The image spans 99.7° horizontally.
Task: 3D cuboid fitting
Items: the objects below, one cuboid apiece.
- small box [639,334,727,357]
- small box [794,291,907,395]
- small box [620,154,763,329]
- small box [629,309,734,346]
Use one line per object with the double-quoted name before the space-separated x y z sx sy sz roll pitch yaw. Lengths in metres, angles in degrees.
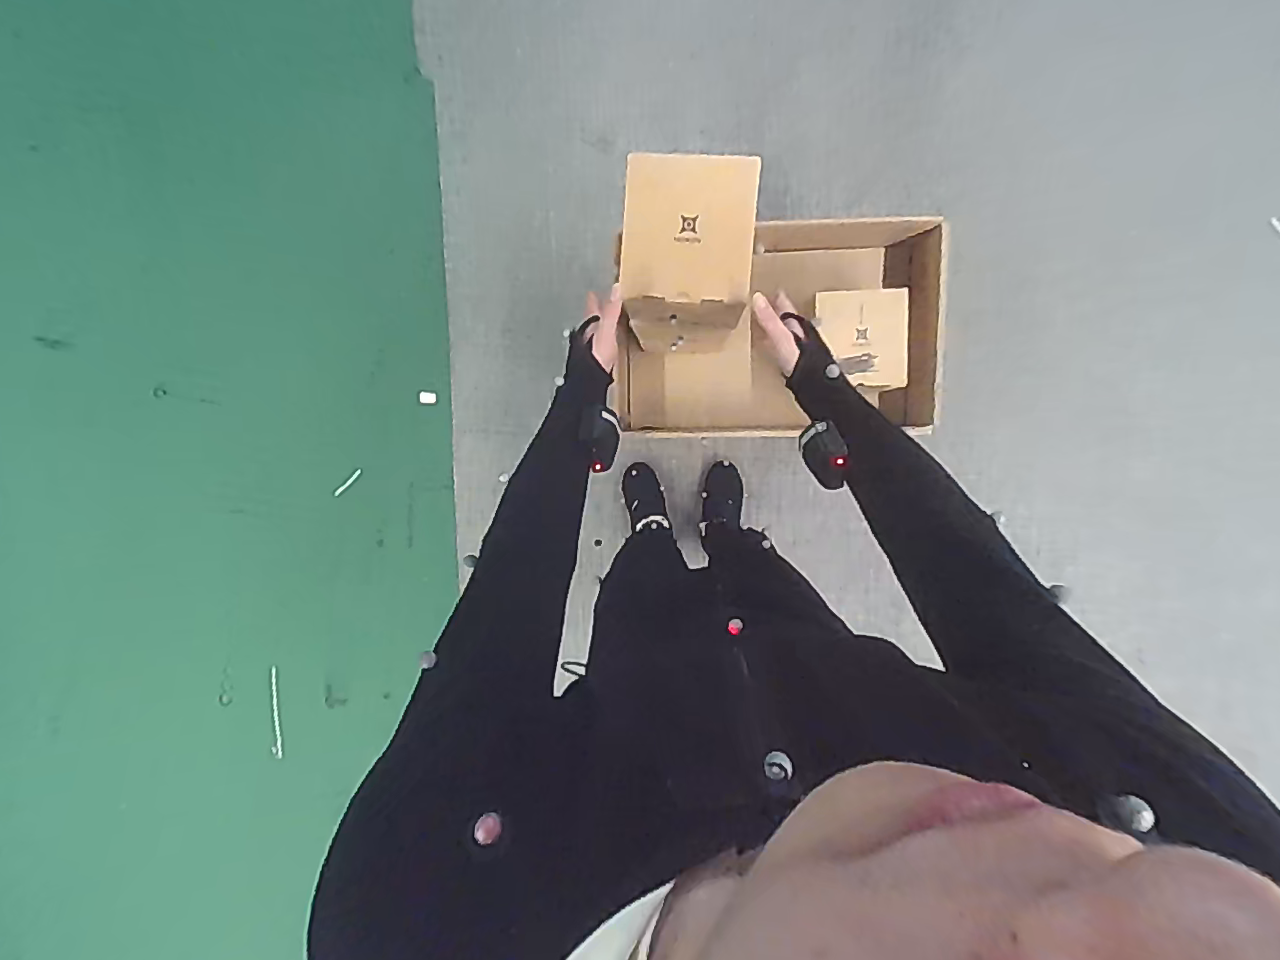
"small box" 0.086 -0.346 1.074 0.168 0.176 0.179 1 95 4
"small box" 0.403 -0.257 1.057 0.168 0.176 0.179 -1 94 4
"small box" 0.067 -0.318 0.750 0.168 0.176 0.179 5 96 4
"small box" 0.075 -0.332 0.911 0.168 0.176 0.179 4 96 4
